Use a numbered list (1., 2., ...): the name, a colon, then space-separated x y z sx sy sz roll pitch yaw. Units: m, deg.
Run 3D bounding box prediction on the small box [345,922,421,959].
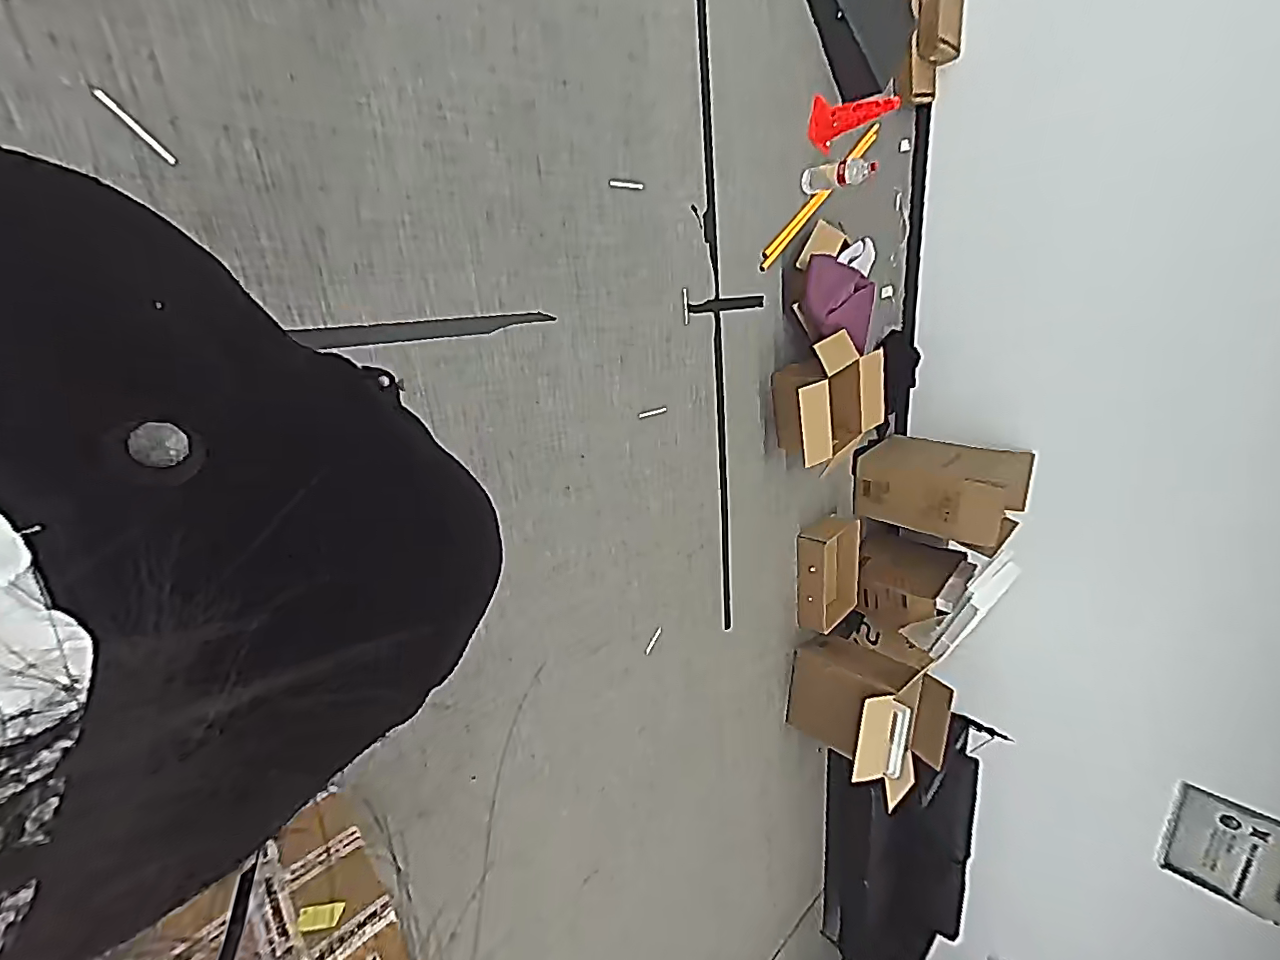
1. small box: -0.528 1.086 1.123 0.168 0.176 0.179 -28 114 -39
